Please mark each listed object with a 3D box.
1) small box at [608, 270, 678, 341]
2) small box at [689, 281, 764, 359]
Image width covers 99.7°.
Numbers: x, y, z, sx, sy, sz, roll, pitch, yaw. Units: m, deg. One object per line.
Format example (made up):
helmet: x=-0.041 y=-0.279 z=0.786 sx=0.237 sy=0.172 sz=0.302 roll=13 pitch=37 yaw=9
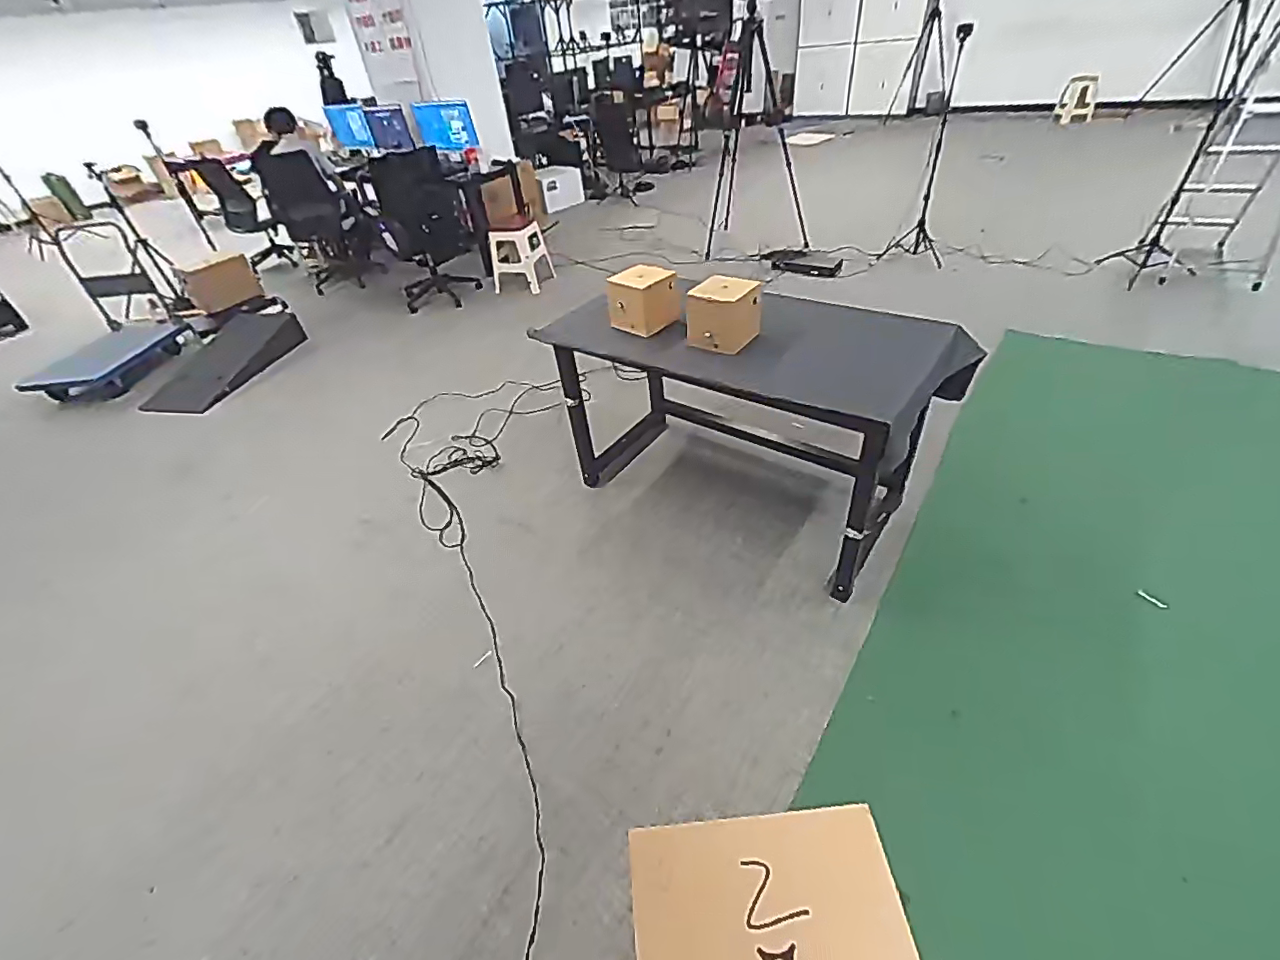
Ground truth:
small box: x=0.019 y=-0.588 z=1.823 sx=0.168 sy=0.176 sz=0.179 roll=27 pitch=49 yaw=34
small box: x=0.266 y=-0.497 z=1.675 sx=0.168 sy=0.176 sz=0.179 roll=21 pitch=47 yaw=31
